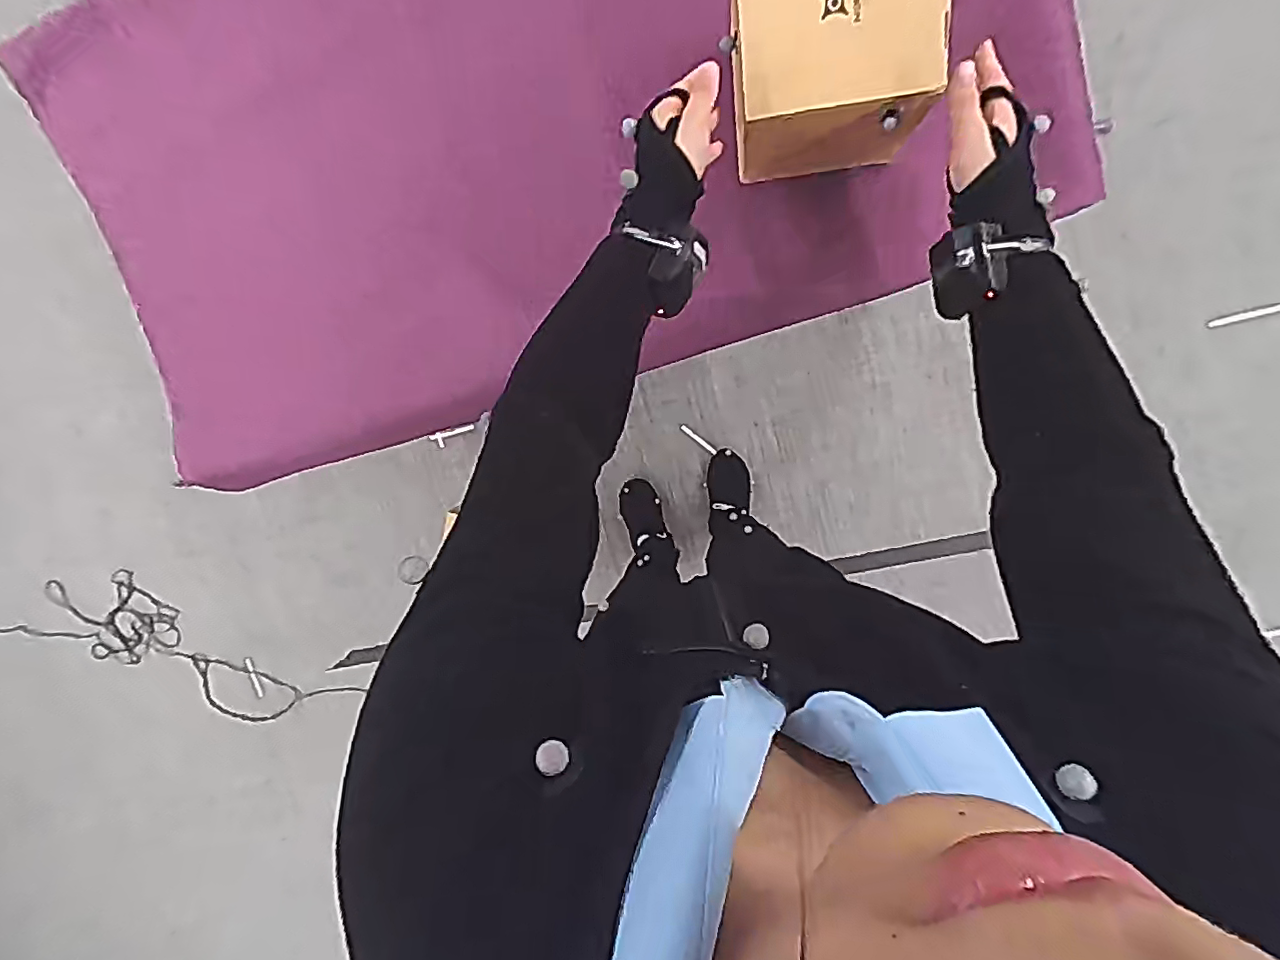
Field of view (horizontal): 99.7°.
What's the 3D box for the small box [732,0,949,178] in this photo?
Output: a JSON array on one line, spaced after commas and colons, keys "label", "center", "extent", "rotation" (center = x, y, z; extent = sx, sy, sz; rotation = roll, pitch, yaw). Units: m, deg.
[{"label": "small box", "center": [0.185, -0.427, 0.543], "extent": [0.179, 0.176, 0.168], "rotation": [-5, 100, 8]}]
